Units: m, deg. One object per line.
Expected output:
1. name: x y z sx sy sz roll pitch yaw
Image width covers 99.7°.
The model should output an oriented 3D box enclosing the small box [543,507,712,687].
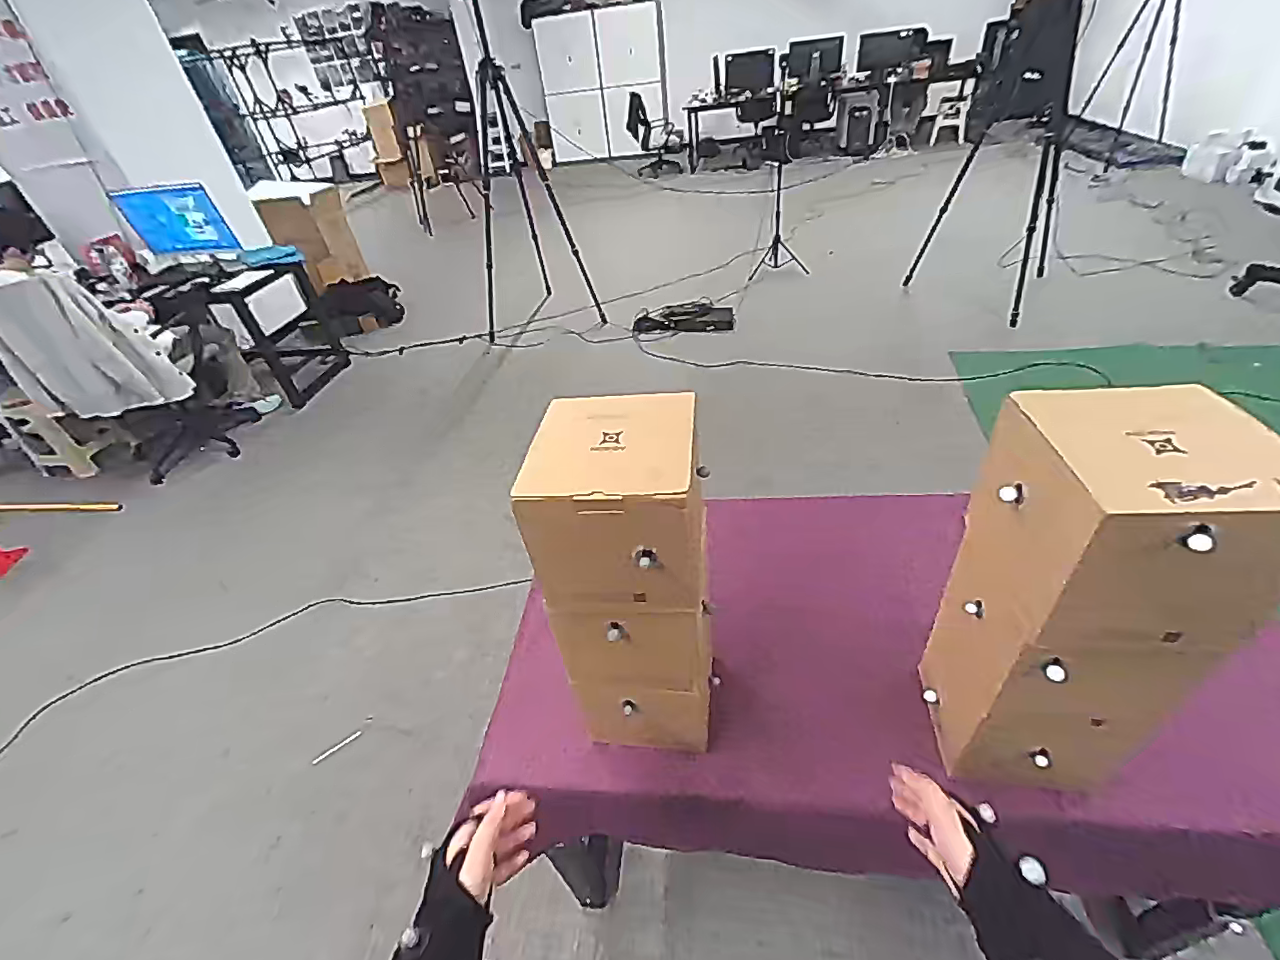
1. small box: -0.001 0.147 0.693 0.179 0.176 0.168 -1 40 12

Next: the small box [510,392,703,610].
1. small box: -0.019 0.024 0.588 0.168 0.176 0.179 -1 39 9

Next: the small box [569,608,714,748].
1. small box: 0.014 0.273 0.797 0.179 0.176 0.168 0 41 11

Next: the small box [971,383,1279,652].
1. small box: 0.431 0.030 0.489 0.168 0.176 0.179 -2 38 9

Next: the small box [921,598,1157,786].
1. small box: 0.491 0.275 0.702 0.179 0.176 0.168 -1 40 12
